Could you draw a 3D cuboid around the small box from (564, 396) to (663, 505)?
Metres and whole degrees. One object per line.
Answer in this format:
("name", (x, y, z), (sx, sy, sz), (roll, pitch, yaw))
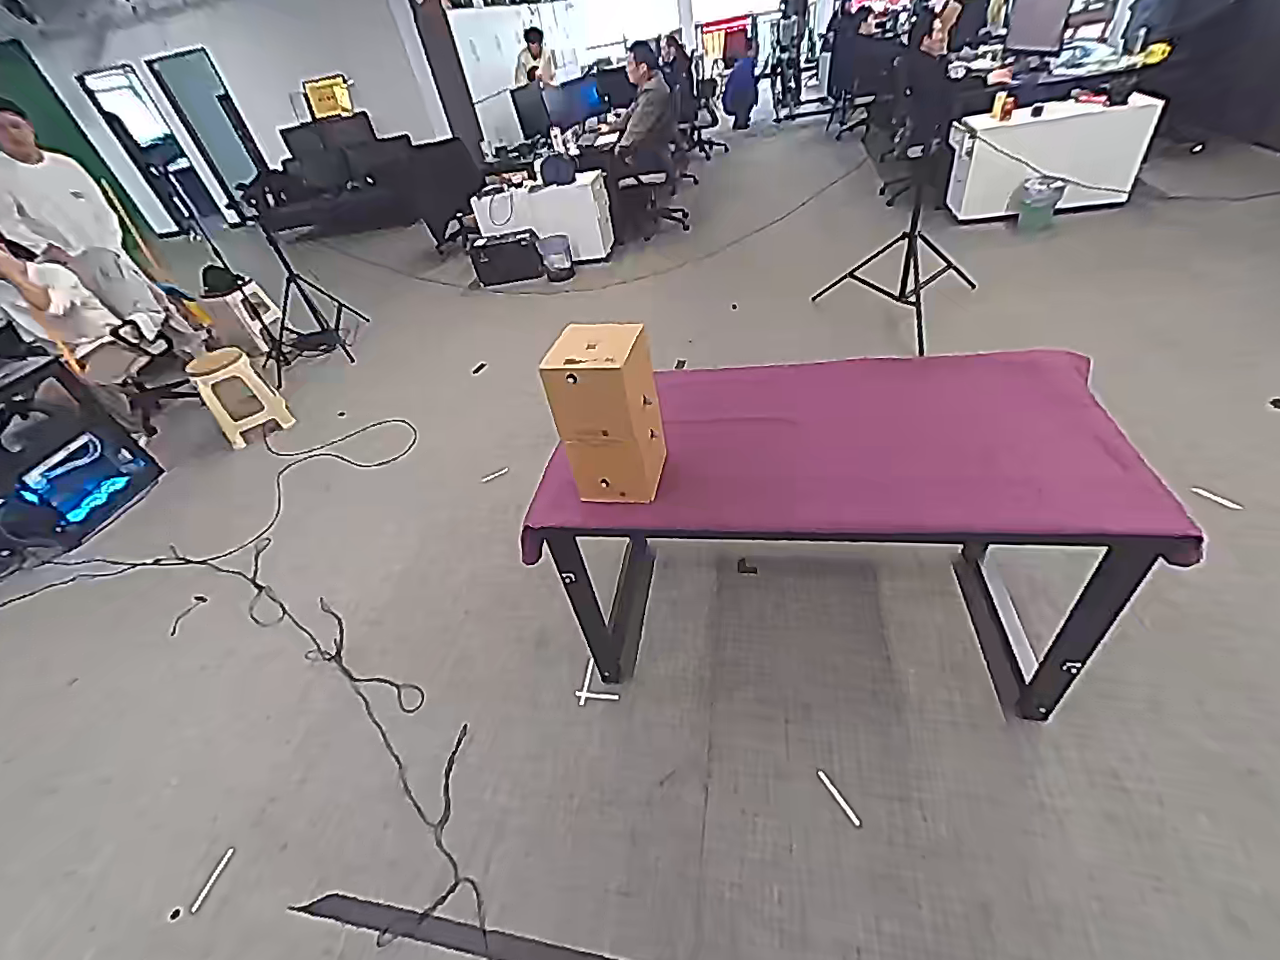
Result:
("small box", (-0.048, -0.068, 1.186), (0.168, 0.176, 0.179), (2, 41, 15))

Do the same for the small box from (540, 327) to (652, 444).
("small box", (-0.077, -0.192, 1.082), (0.168, 0.176, 0.179), (3, 41, 17))
